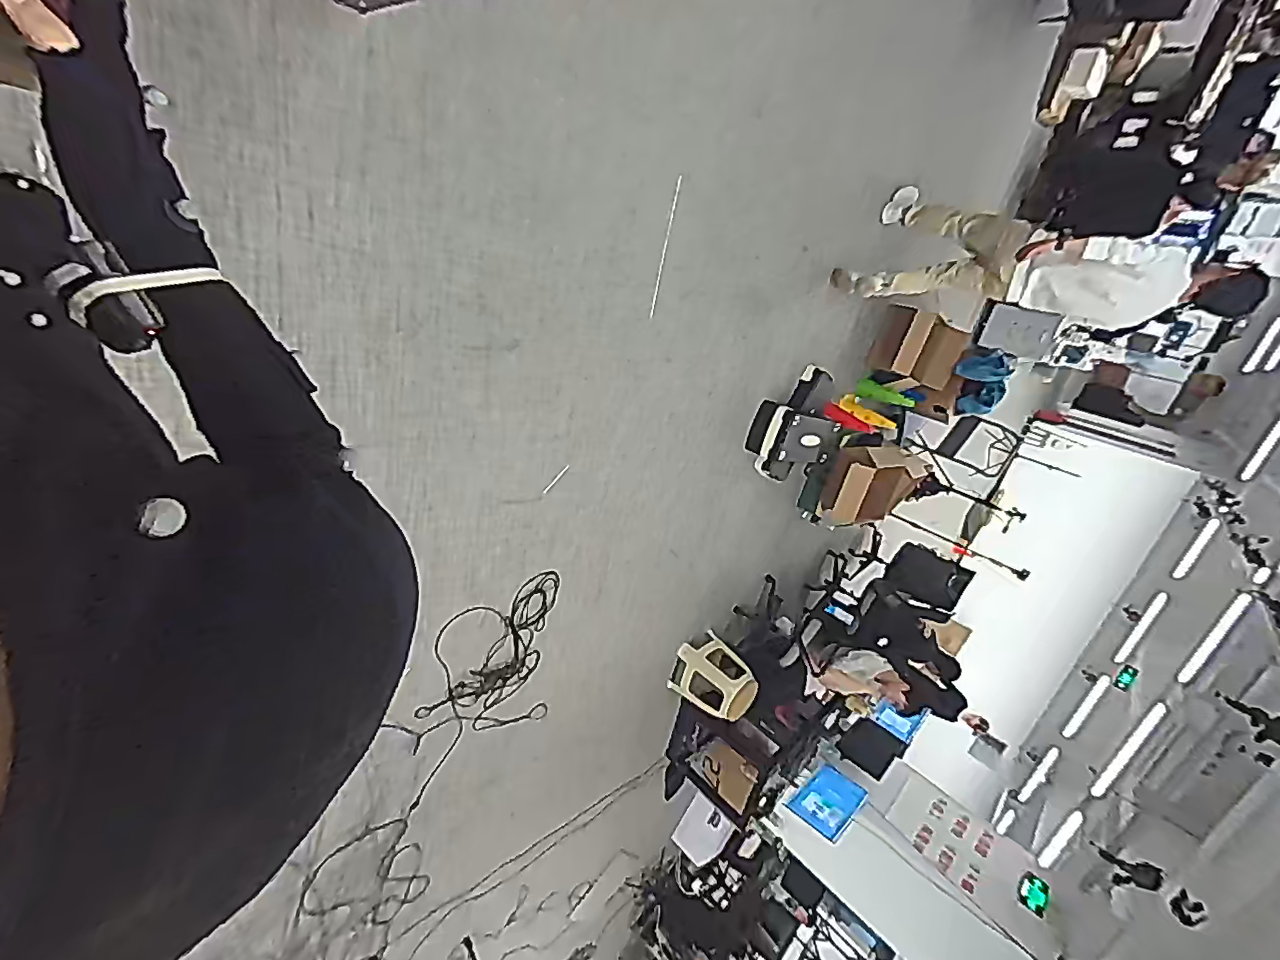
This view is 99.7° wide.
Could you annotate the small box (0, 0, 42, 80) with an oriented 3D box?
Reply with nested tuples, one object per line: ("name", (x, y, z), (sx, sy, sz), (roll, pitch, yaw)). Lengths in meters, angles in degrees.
("small box", (-0.431, -0.335, 0.261), (0.168, 0.176, 0.179), (-12, 111, -43))
